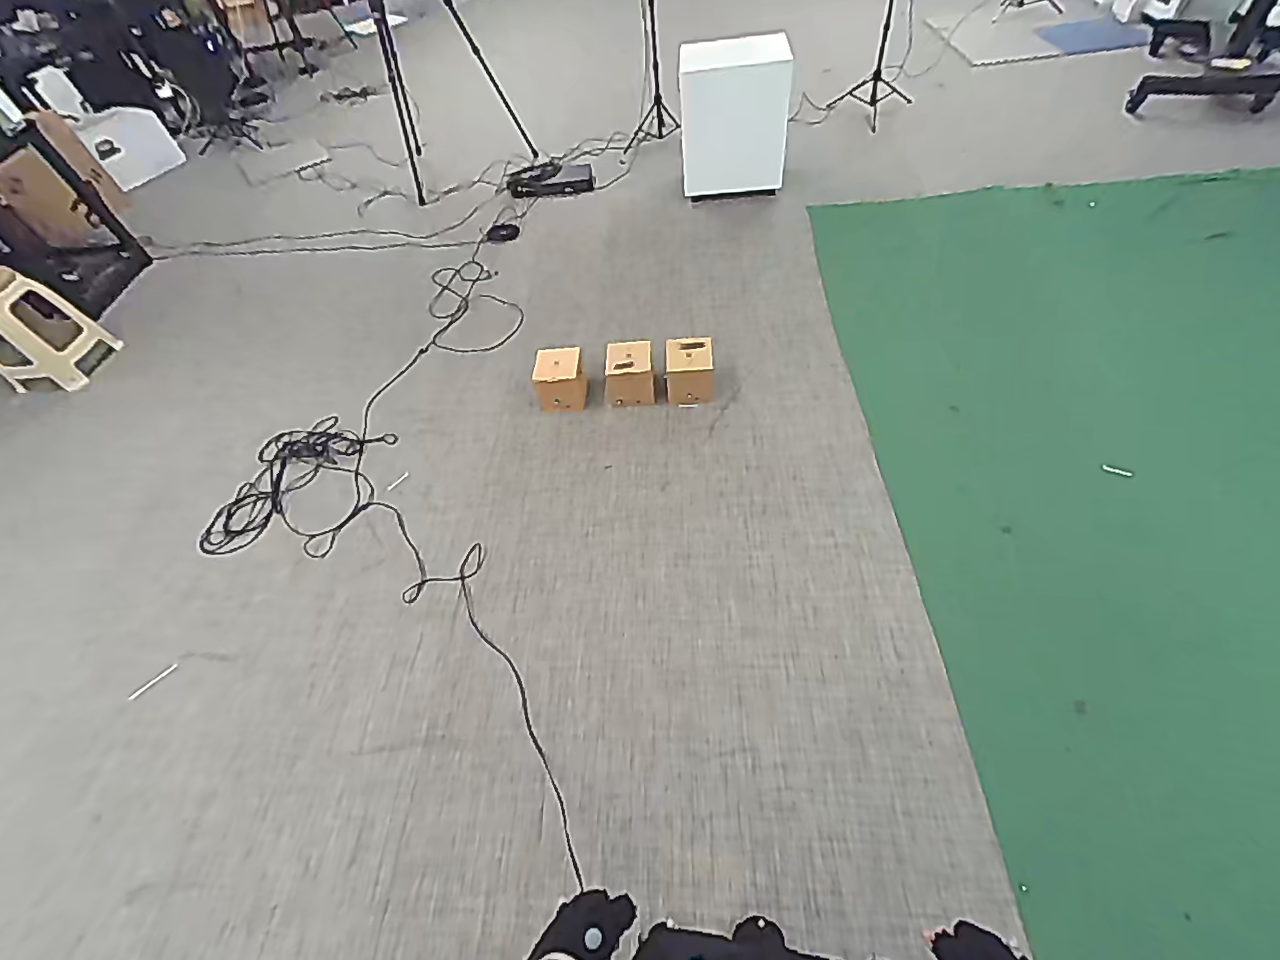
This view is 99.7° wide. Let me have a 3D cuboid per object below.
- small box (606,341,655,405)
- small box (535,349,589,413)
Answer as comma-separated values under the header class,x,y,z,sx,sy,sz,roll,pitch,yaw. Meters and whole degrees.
class,x,y,z,sx,sy,sz,roll,pitch,yaw
small box,-0.030,-0.400,2.055,0.168,0.176,0.179,-3,52,6
small box,-0.294,-0.381,2.082,0.168,0.176,0.179,-3,53,6
